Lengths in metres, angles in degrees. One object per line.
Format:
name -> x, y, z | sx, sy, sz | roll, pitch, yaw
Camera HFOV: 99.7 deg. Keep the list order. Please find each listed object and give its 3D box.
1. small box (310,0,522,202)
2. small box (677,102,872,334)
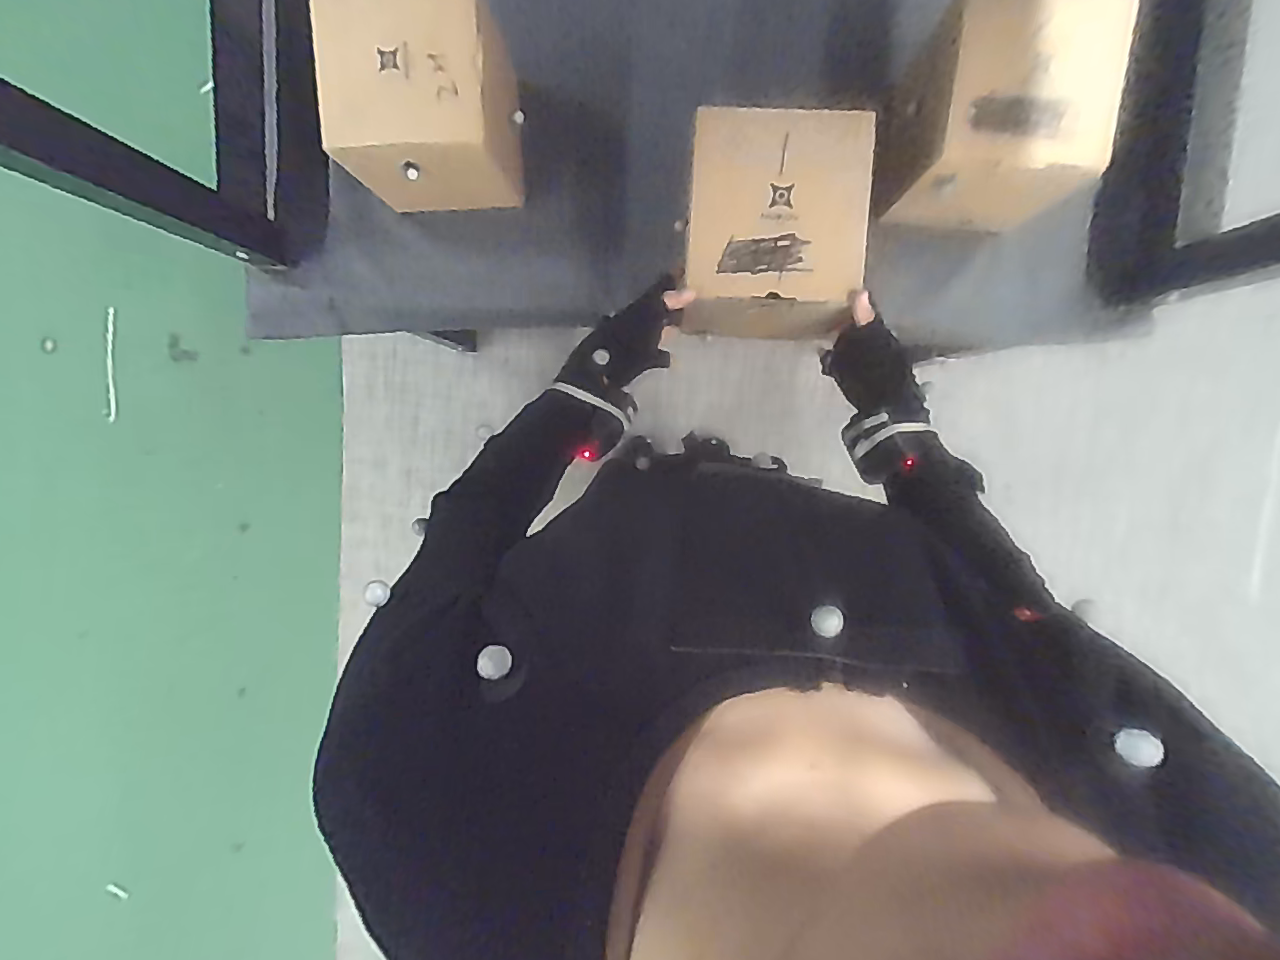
small box -> -0.248, -0.444, 0.635 | 0.179, 0.176, 0.168 | -1, 96, 1
small box -> 0.128, -0.261, 0.580 | 0.168, 0.176, 0.179 | 4, 93, 2
